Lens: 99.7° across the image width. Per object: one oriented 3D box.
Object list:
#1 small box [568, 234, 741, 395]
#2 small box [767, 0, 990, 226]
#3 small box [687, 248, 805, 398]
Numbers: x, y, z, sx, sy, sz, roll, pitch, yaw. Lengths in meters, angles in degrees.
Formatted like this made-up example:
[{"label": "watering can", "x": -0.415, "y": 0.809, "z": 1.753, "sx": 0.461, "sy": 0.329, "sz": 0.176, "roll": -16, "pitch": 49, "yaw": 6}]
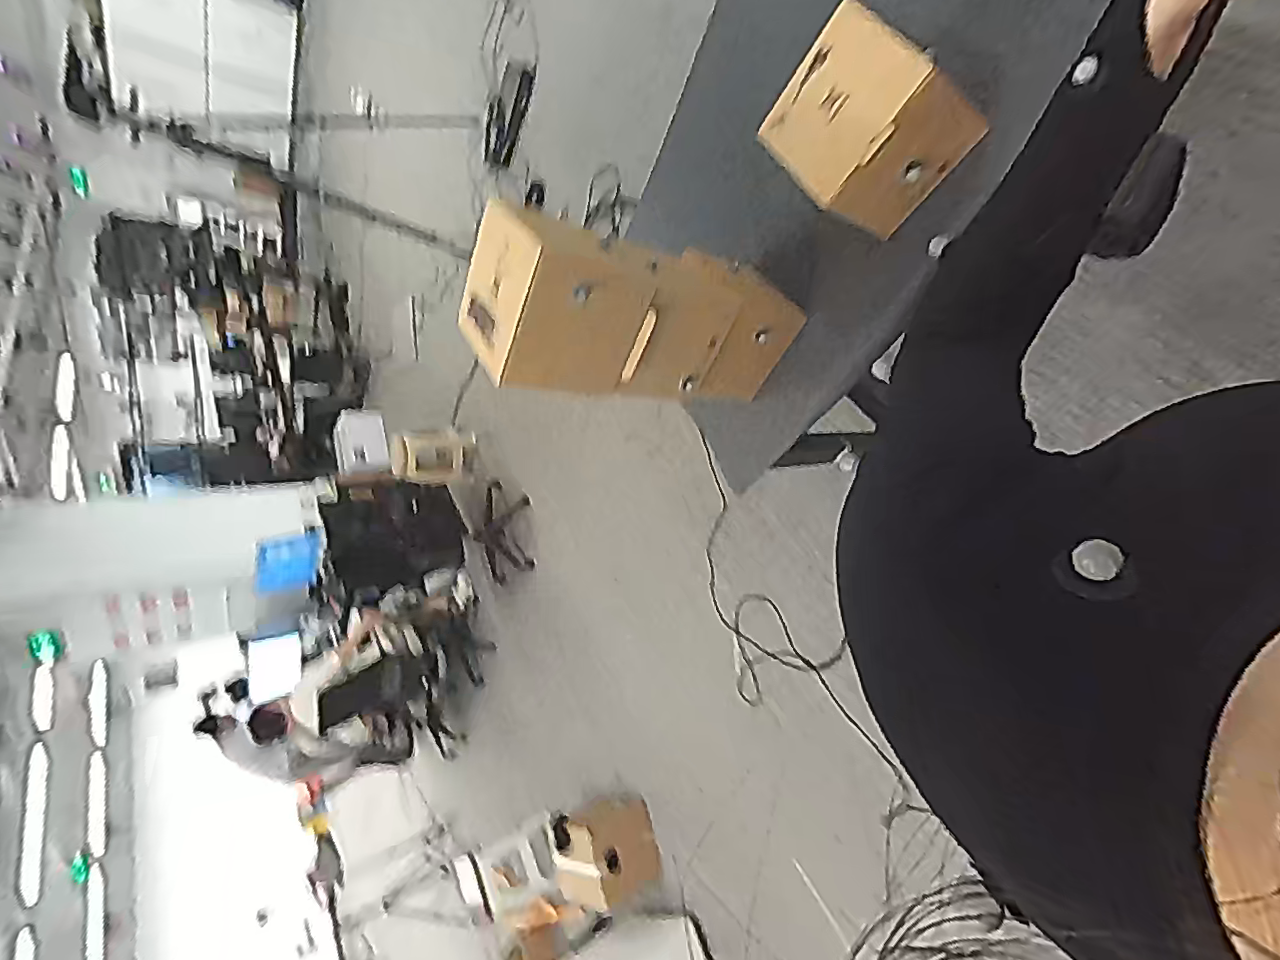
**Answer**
[{"label": "small box", "x": 0.020, "y": -0.243, "z": 0.820, "sx": 0.179, "sy": 0.176, "sz": 0.168, "roll": 54, "pitch": 130, "yaw": 36}, {"label": "small box", "x": 0.309, "y": -0.460, "z": 0.706, "sx": 0.168, "sy": 0.176, "sz": 0.179, "roll": -49, "pitch": 57, "yaw": 41}, {"label": "small box", "x": 0.150, "y": -0.258, "z": 0.919, "sx": 0.168, "sy": 0.176, "sz": 0.179, "roll": 57, "pitch": 133, "yaw": 32}]
